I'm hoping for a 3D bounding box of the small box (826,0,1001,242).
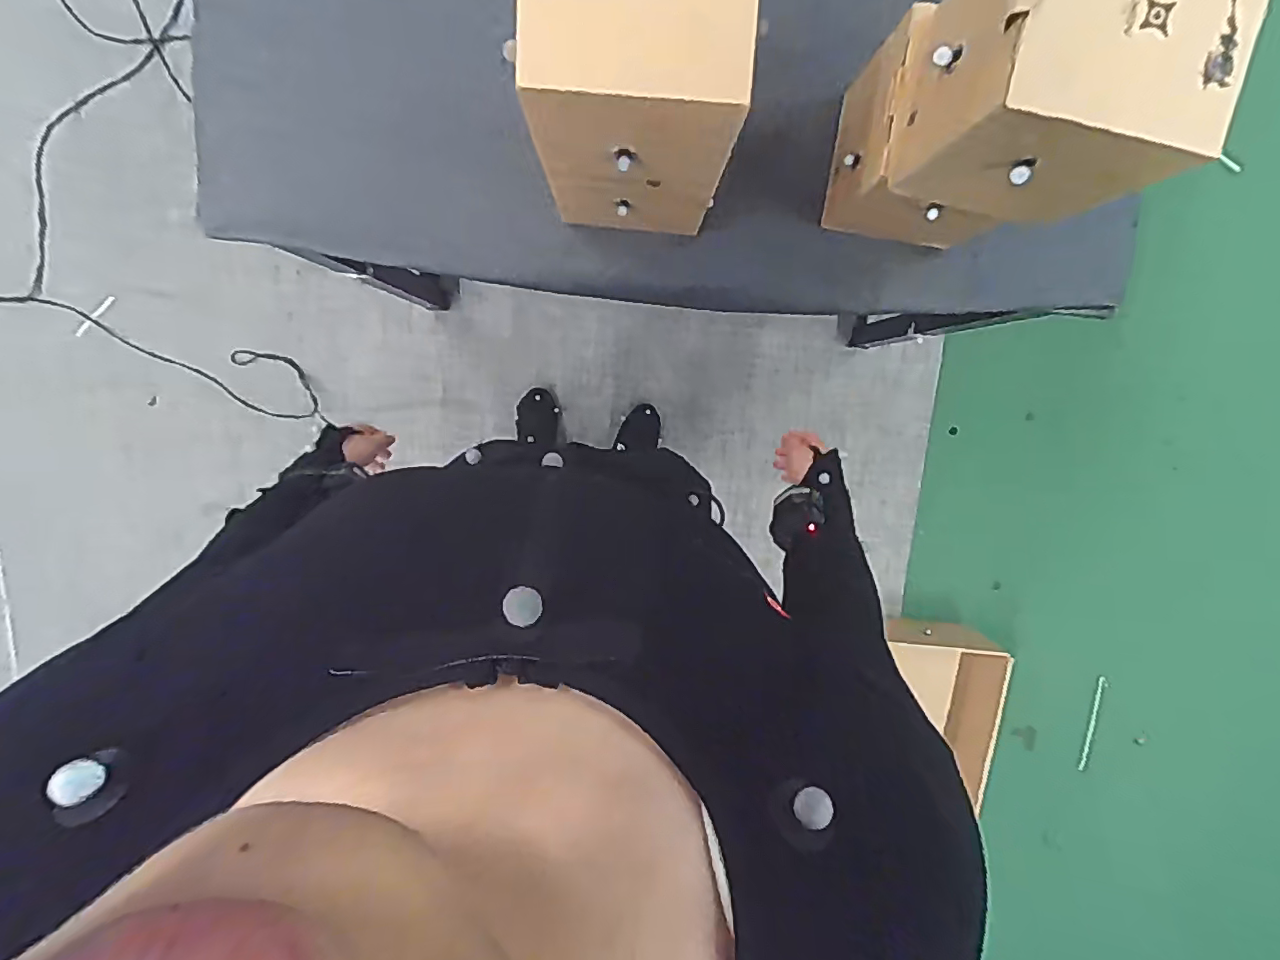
[{"bbox_3d":[0.333,-0.385,0.610,0.179,0.176,0.168,7,99,-4],"label":"small box"}]

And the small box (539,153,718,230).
[{"bbox_3d":[-0.006,-0.390,0.595,0.179,0.176,0.168,5,98,-1],"label":"small box"}]

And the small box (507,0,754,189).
[{"bbox_3d":[-0.004,-0.358,0.434,0.168,0.176,0.179,3,98,-2],"label":"small box"}]

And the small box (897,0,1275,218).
[{"bbox_3d":[0.349,-0.341,0.452,0.179,0.176,0.168,11,99,-3],"label":"small box"}]
